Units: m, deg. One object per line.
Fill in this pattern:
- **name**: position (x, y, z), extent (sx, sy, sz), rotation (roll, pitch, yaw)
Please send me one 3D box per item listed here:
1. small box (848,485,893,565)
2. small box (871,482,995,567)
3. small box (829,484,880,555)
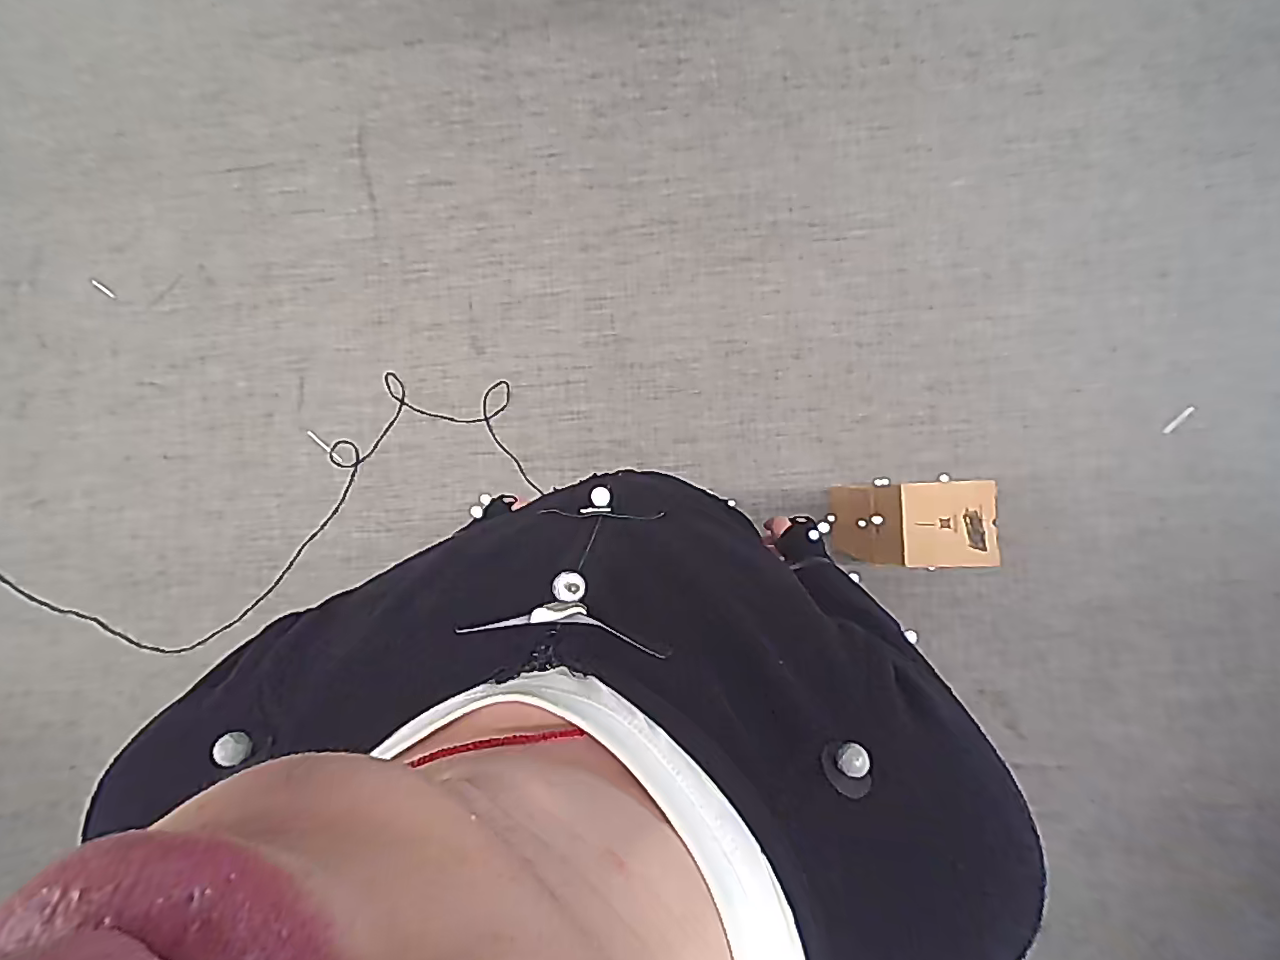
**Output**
- **small box**: position (0.604, 0.099, 1.288), extent (0.168, 0.176, 0.179), rotation (-4, 91, 4)
- **small box**: position (0.599, 0.087, 1.122), extent (0.179, 0.176, 0.168), rotation (-2, 88, 5)
- **small box**: position (0.615, 0.101, 1.449), extent (0.168, 0.176, 0.179), rotation (-2, 90, 3)
